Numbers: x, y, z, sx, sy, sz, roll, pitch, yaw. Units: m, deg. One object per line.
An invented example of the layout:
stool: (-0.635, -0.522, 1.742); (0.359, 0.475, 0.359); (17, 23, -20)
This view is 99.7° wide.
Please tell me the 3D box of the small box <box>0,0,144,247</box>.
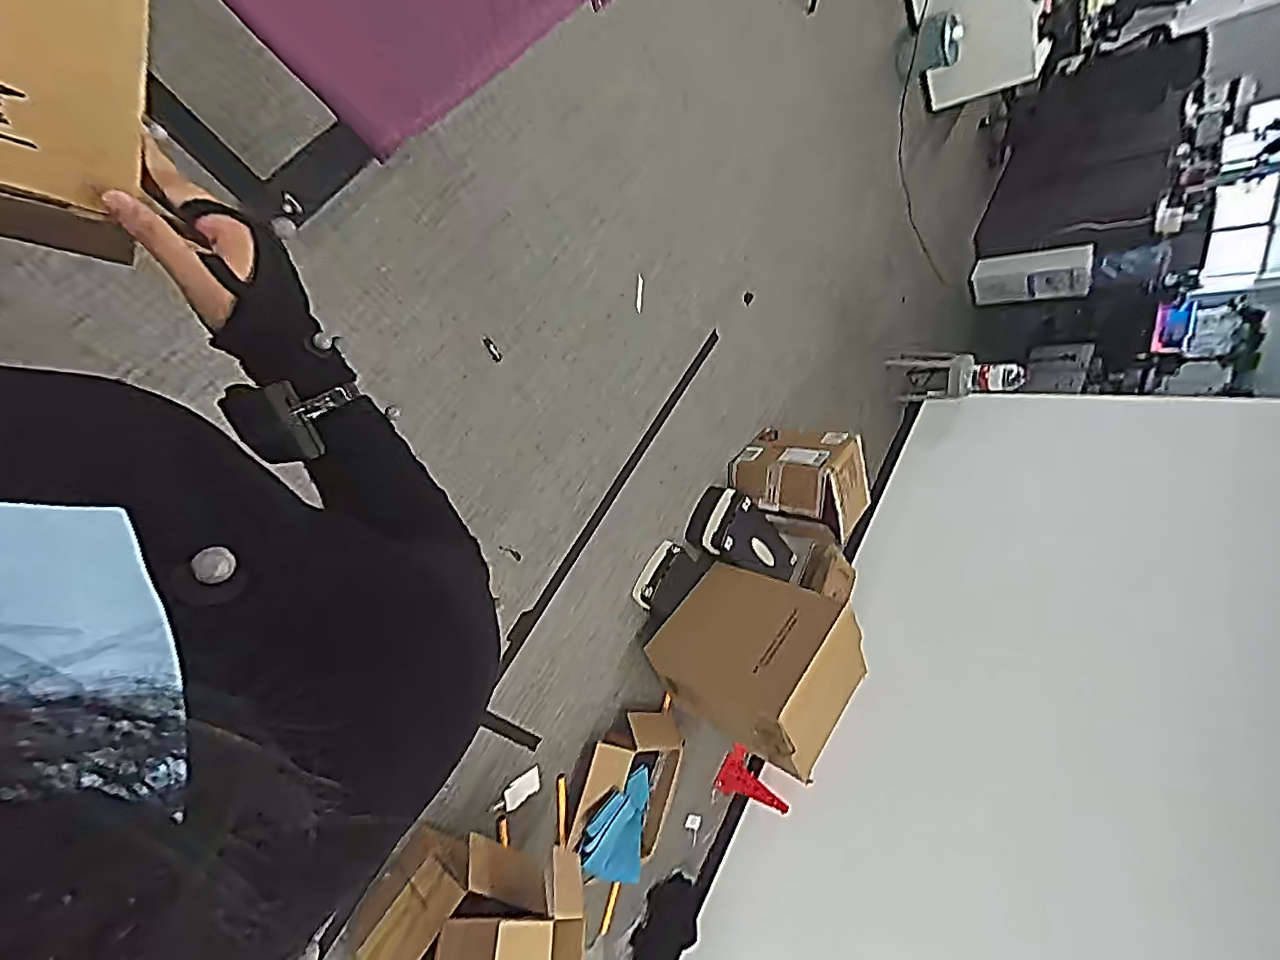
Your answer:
small box: (-0.424, -0.267, 0.335); (0.168, 0.176, 0.179); (4, 94, -45)
